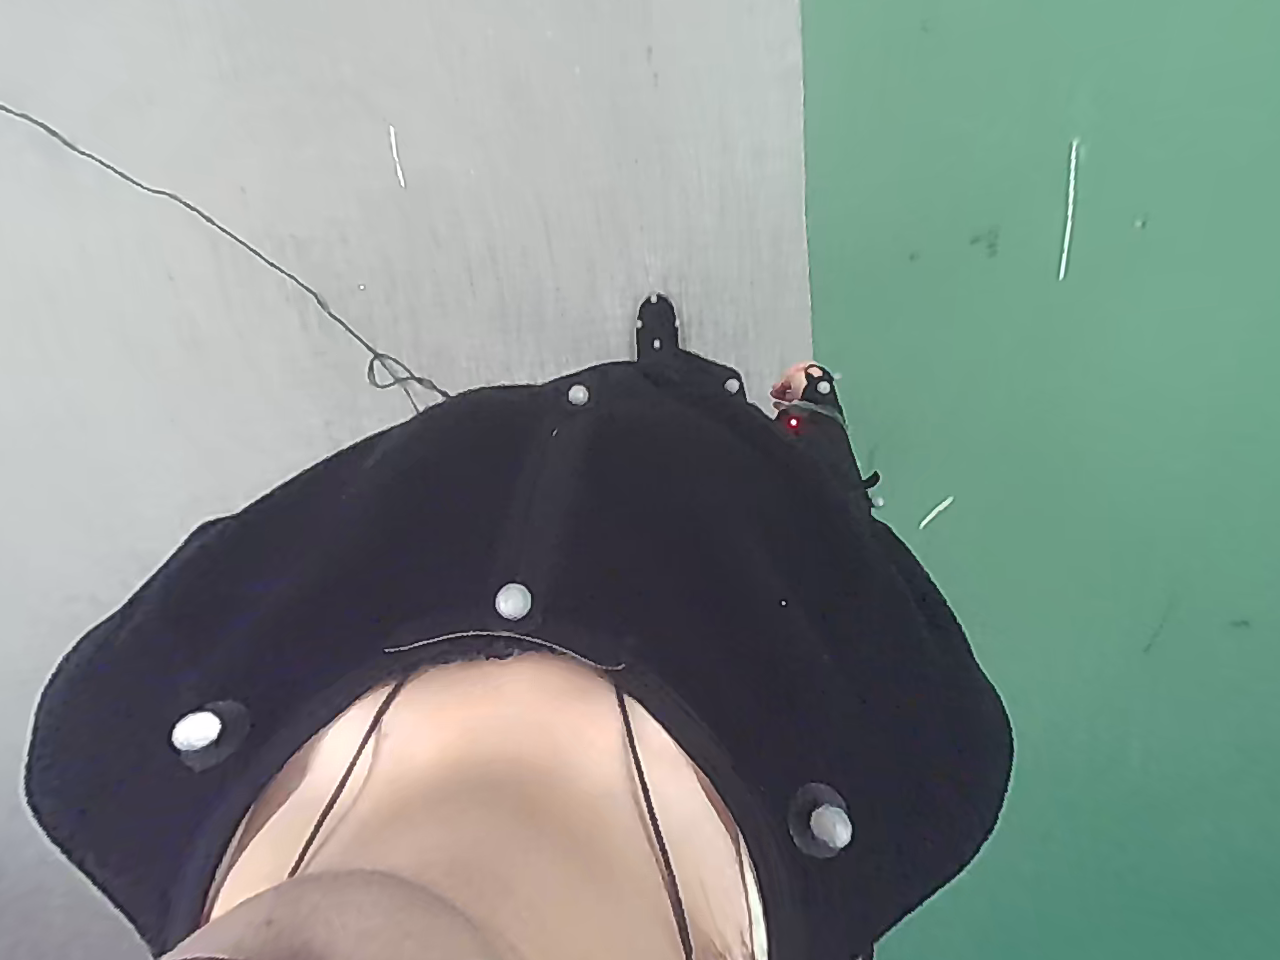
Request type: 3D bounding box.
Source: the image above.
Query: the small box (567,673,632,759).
[{"bbox_3d":[-0.118,0.698,1.614,0.179,0.176,0.168,5,104,-2],"label":"small box"}]
